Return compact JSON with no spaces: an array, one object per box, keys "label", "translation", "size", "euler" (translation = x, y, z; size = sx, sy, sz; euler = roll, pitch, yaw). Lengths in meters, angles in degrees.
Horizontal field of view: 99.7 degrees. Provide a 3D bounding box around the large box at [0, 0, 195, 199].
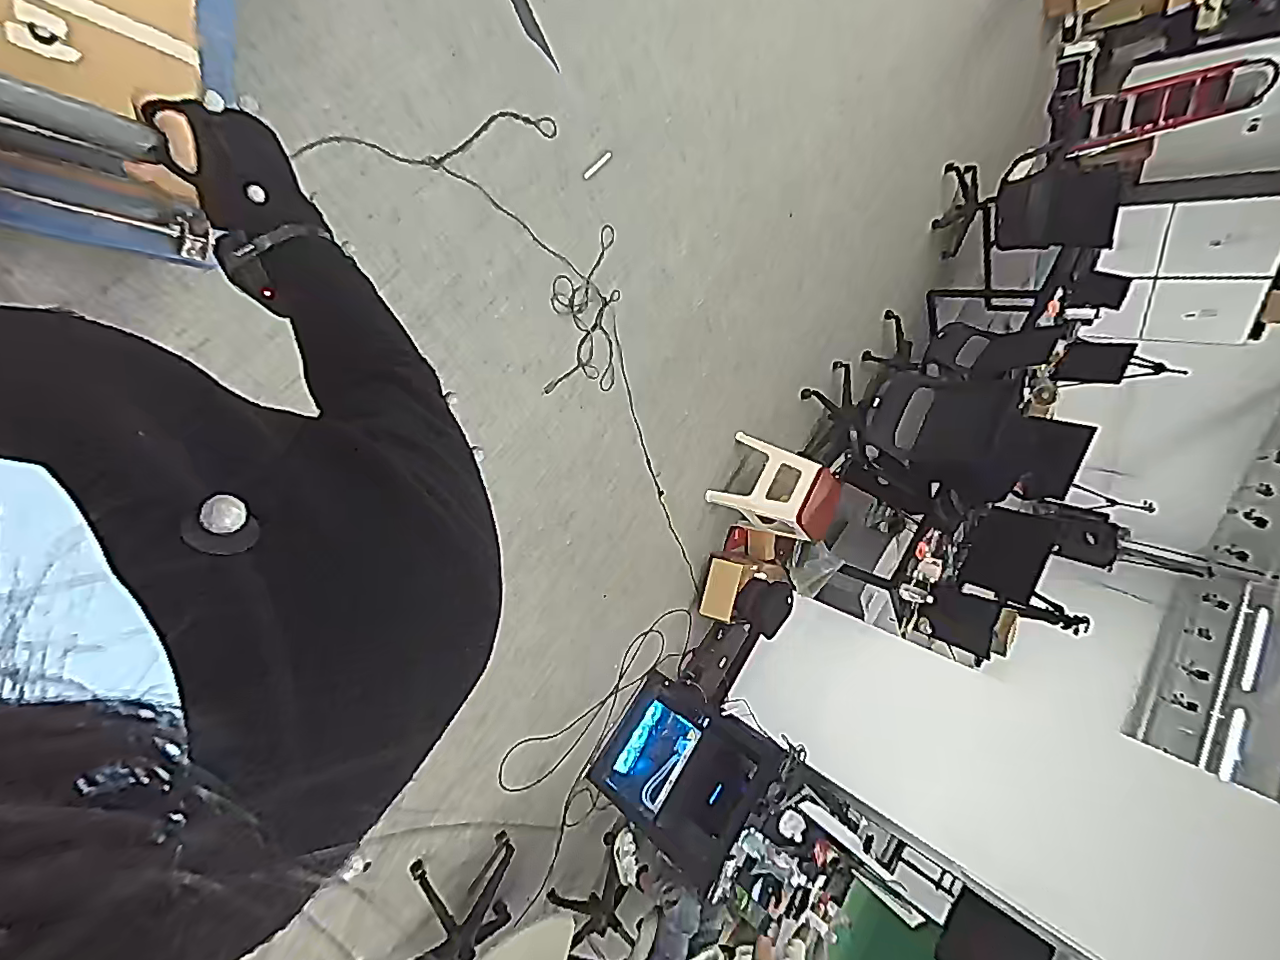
[{"label":"large box","translation":[-0.836,-0.593,0.667],"size":[0.408,0.320,0.320],"euler":[-1,105,-48]}]
